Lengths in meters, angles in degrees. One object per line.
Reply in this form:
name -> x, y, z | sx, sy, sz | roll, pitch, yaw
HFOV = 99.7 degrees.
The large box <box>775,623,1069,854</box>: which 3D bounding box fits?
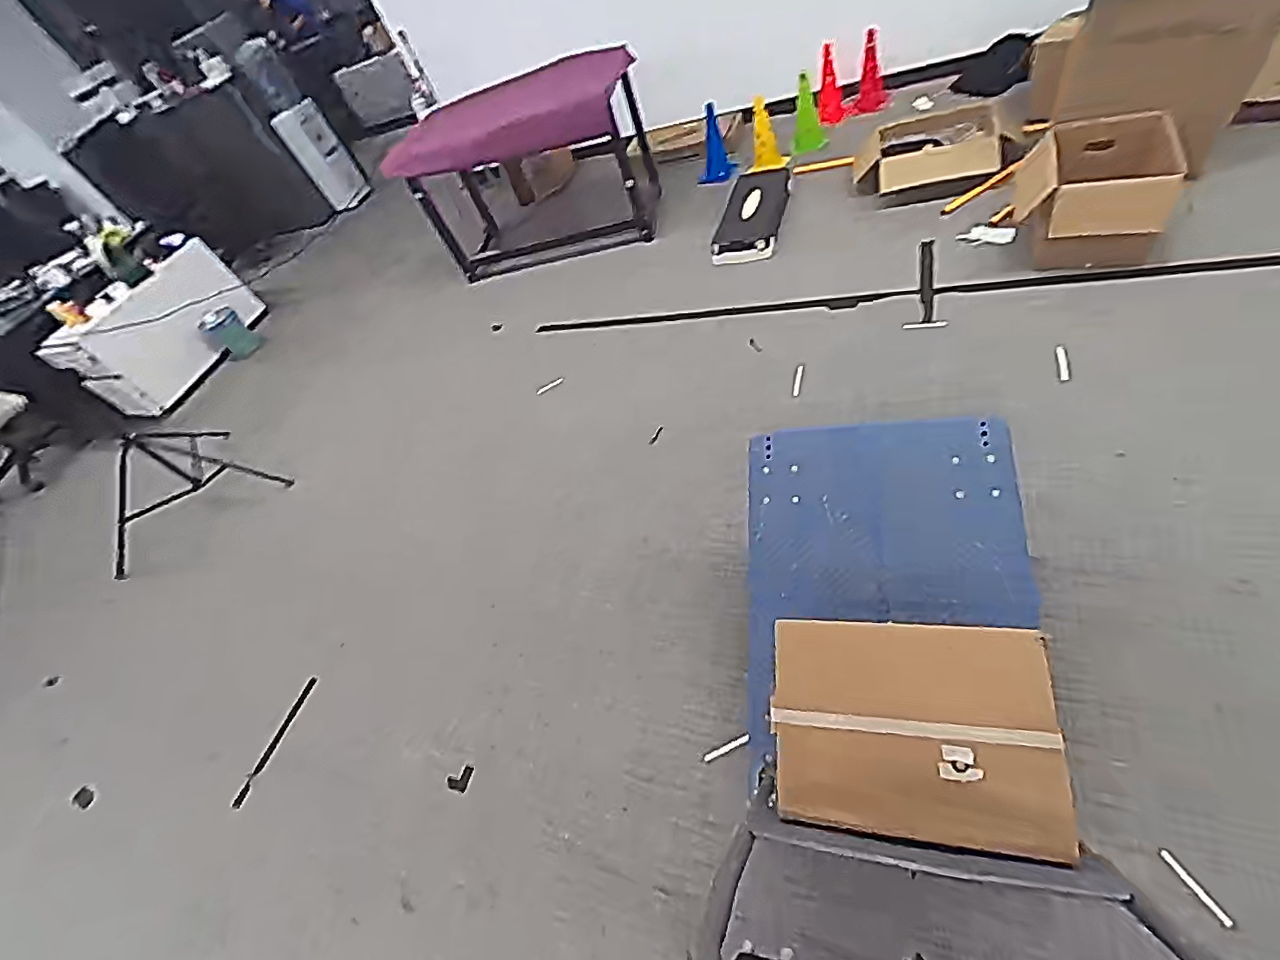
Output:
large box -> 0.469, 0.443, 1.001 | 0.408, 0.320, 0.320 | -3, 71, 18
